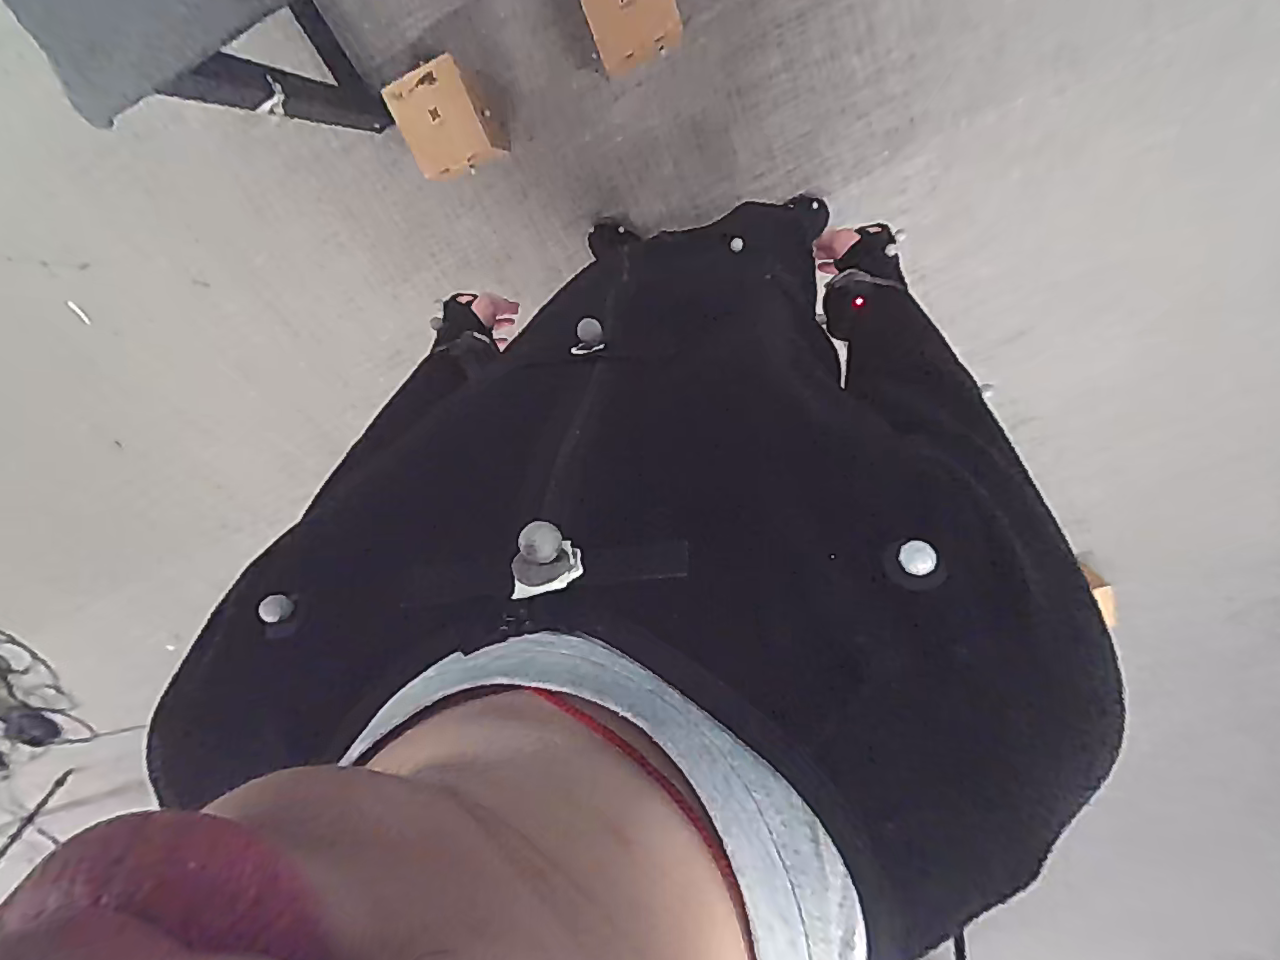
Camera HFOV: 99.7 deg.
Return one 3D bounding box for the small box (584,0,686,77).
[{"bbox_3d":[-0.014,-0.942,1.079,0.168,0.176,0.179,-21,113,13],"label":"small box"}]
